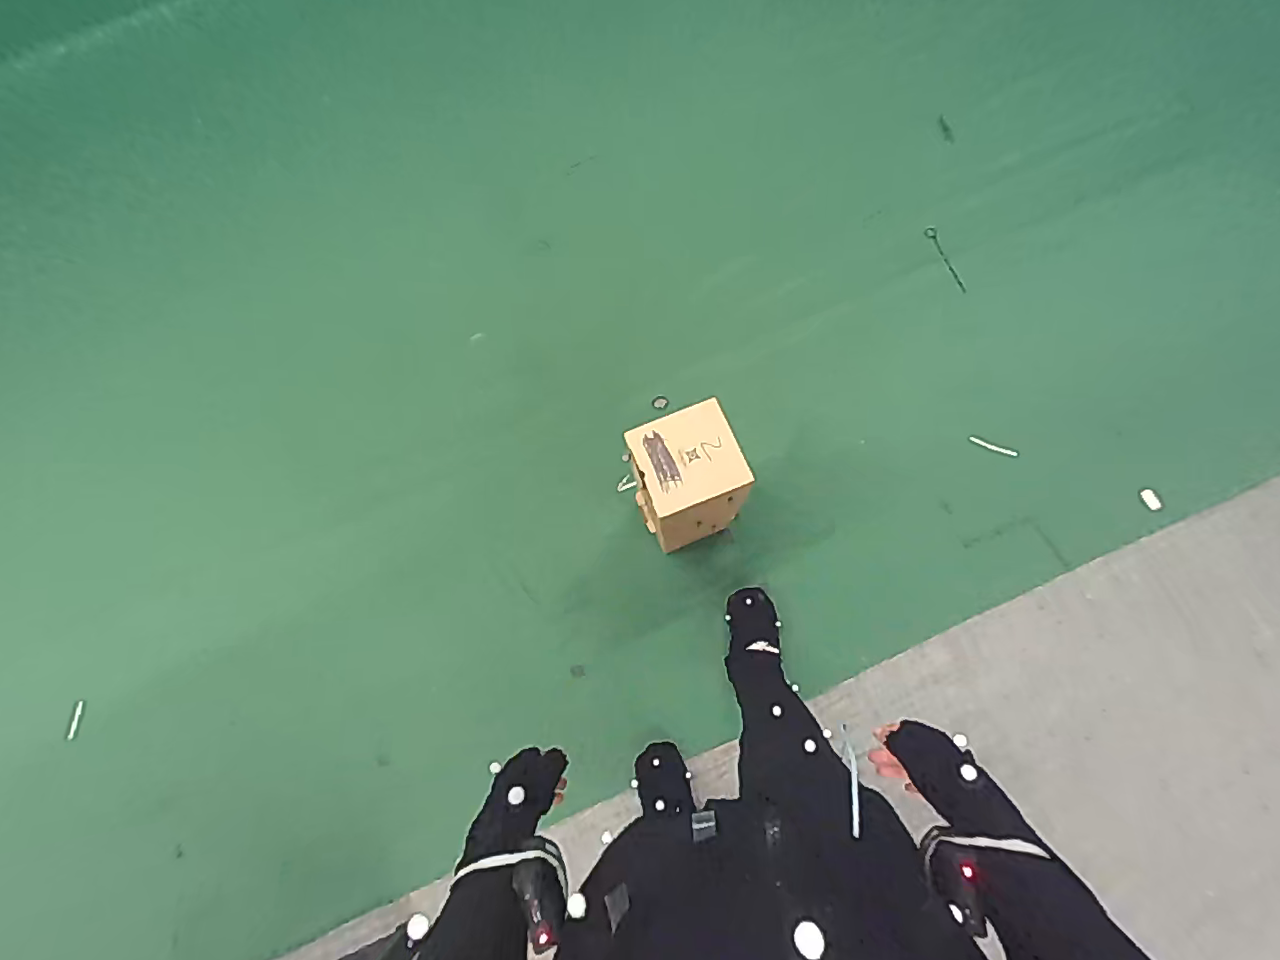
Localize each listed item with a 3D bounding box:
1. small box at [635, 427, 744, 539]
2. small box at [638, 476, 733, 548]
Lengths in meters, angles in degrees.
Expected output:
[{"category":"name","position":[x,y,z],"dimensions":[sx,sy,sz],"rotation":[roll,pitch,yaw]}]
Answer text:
[{"category":"small box","position":[0.100,0.013,1.149],"dimensions":[0.179,0.176,0.168],"rotation":[-22,75,-2]},{"category":"small box","position":[0.106,0.051,1.308],"dimensions":[0.179,0.176,0.168],"rotation":[-22,74,-3]}]
